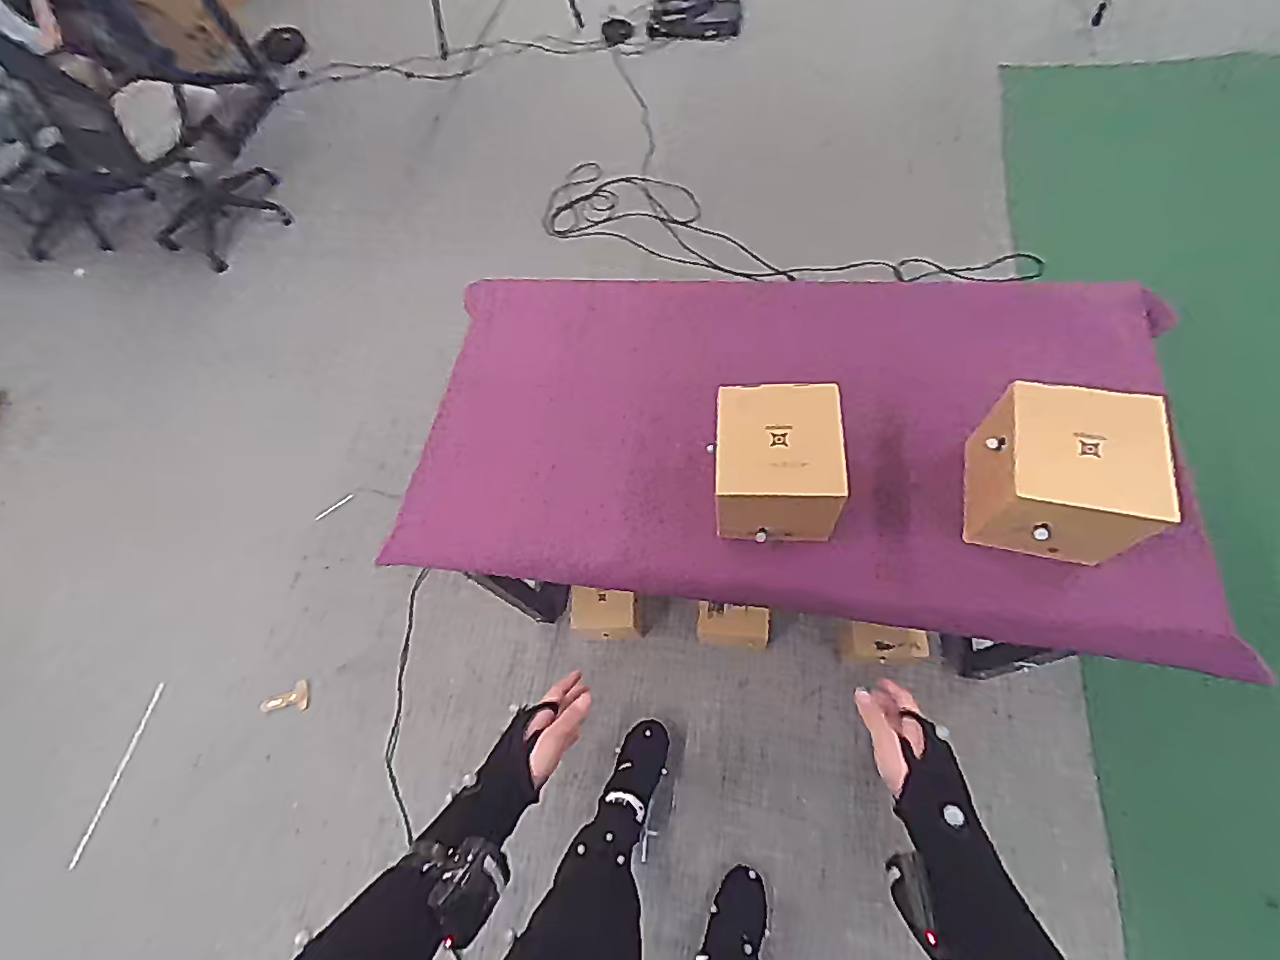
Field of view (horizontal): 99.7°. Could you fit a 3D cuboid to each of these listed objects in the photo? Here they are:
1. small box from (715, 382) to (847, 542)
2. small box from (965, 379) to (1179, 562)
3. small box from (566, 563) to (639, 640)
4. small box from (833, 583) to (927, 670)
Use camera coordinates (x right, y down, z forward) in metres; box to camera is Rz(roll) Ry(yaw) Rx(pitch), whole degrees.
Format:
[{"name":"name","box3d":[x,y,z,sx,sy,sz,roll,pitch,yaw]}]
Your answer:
[{"name":"small box","box3d":[0.195,-0.023,0.785,0.168,0.176,0.179,1,64,10]},{"name":"small box","box3d":[0.555,-0.006,0.722,0.168,0.176,0.179,11,65,14]},{"name":"small box","box3d":[-0.094,0.336,1.467,0.168,0.176,0.179,-3,63,7]},{"name":"small box","box3d":[0.587,0.368,1.348,0.168,0.176,0.179,-1,63,8]}]
